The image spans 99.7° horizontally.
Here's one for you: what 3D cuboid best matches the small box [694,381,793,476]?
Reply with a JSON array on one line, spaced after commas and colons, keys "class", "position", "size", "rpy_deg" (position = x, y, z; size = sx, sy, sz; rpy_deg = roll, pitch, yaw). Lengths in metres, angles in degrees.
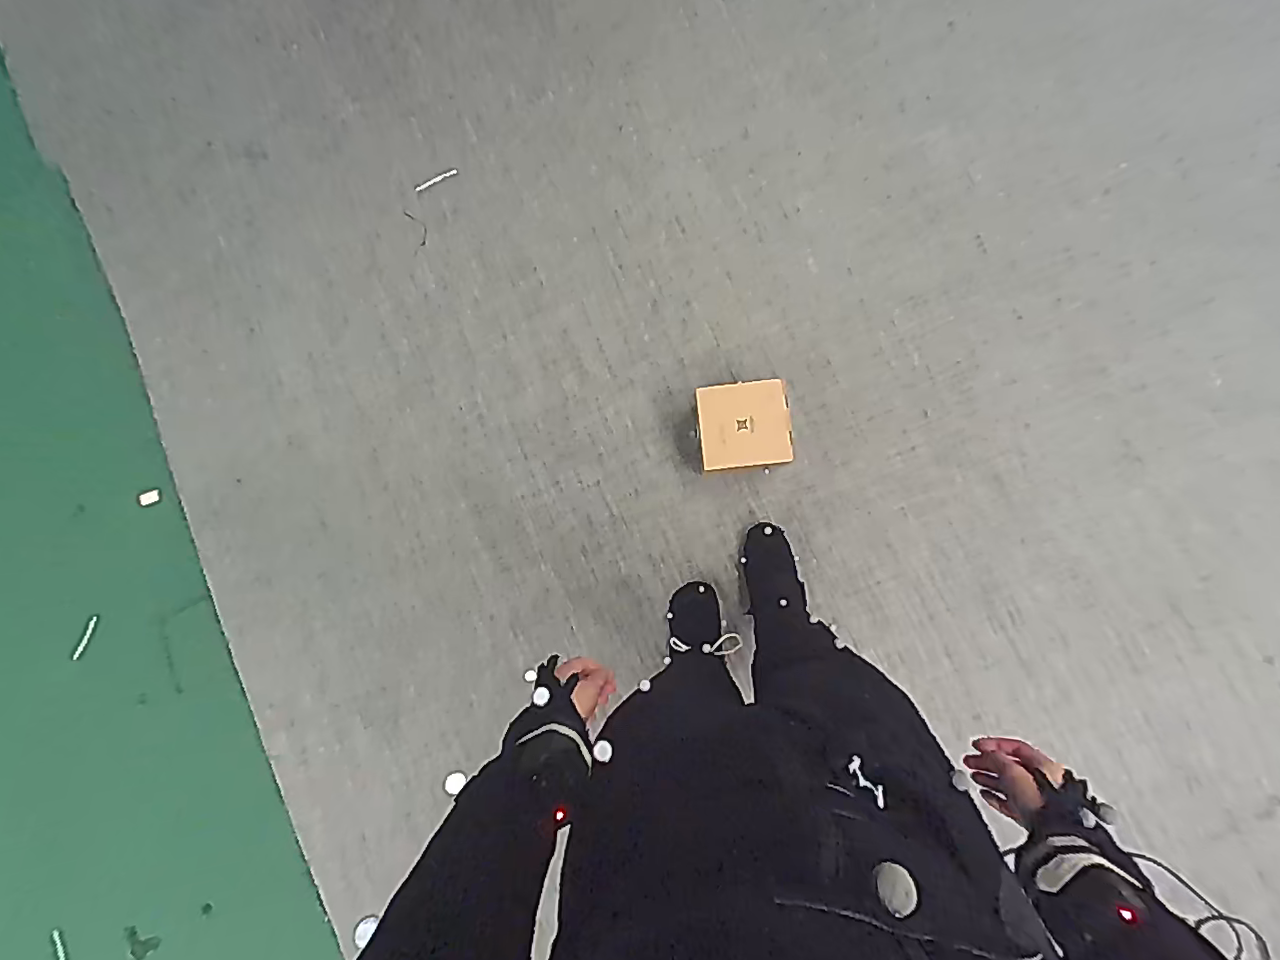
[{"class": "small box", "position": [0.208, -0.101, 1.132], "size": [0.179, 0.176, 0.168], "rpy_deg": [-7, 86, 5]}]
